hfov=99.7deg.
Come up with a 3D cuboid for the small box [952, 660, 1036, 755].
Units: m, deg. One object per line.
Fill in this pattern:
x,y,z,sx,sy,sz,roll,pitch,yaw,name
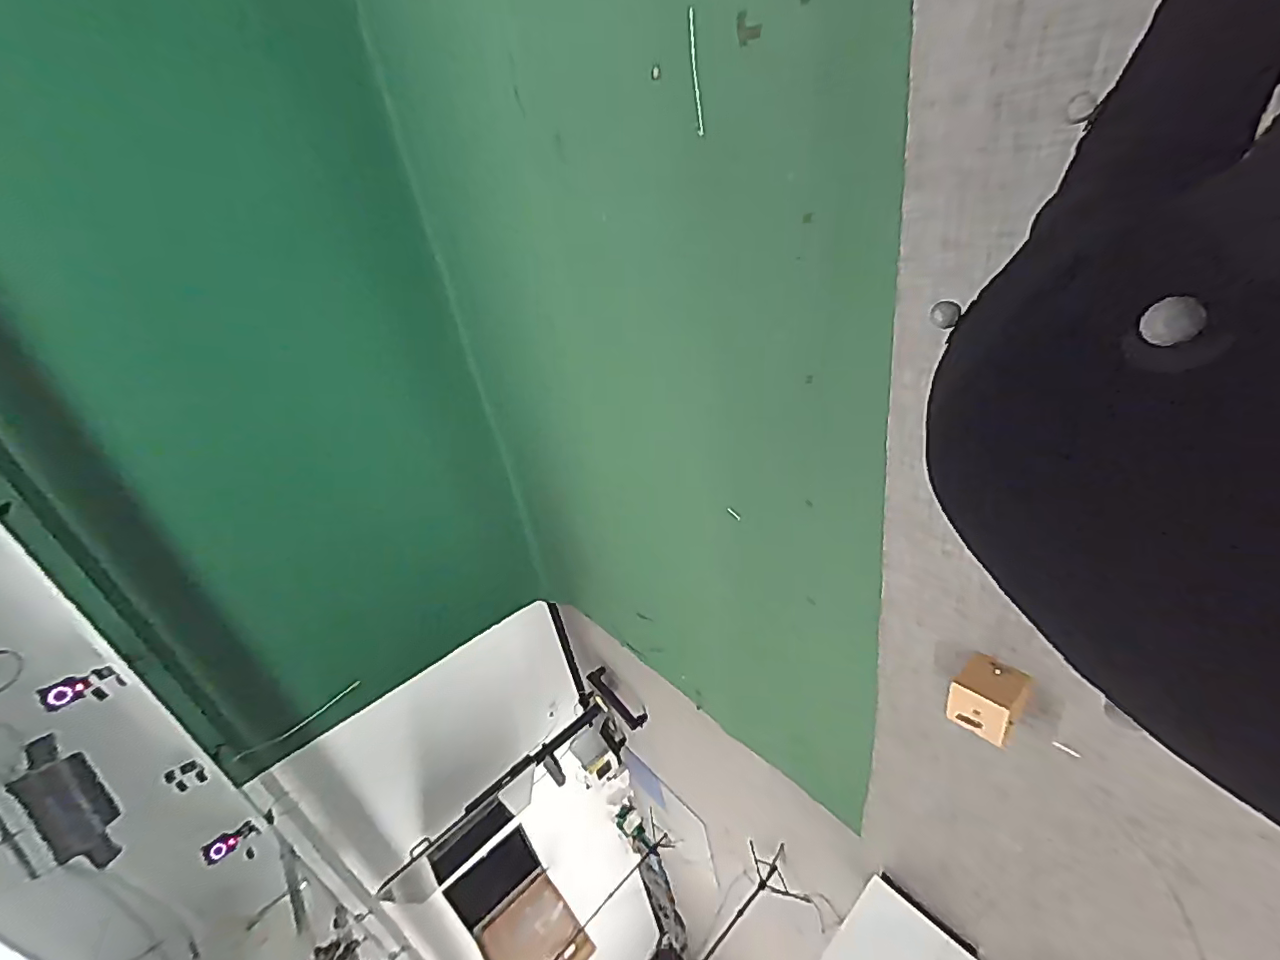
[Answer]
1.117,0.712,1.705,0.168,0.176,0.179,23,131,47,small box
